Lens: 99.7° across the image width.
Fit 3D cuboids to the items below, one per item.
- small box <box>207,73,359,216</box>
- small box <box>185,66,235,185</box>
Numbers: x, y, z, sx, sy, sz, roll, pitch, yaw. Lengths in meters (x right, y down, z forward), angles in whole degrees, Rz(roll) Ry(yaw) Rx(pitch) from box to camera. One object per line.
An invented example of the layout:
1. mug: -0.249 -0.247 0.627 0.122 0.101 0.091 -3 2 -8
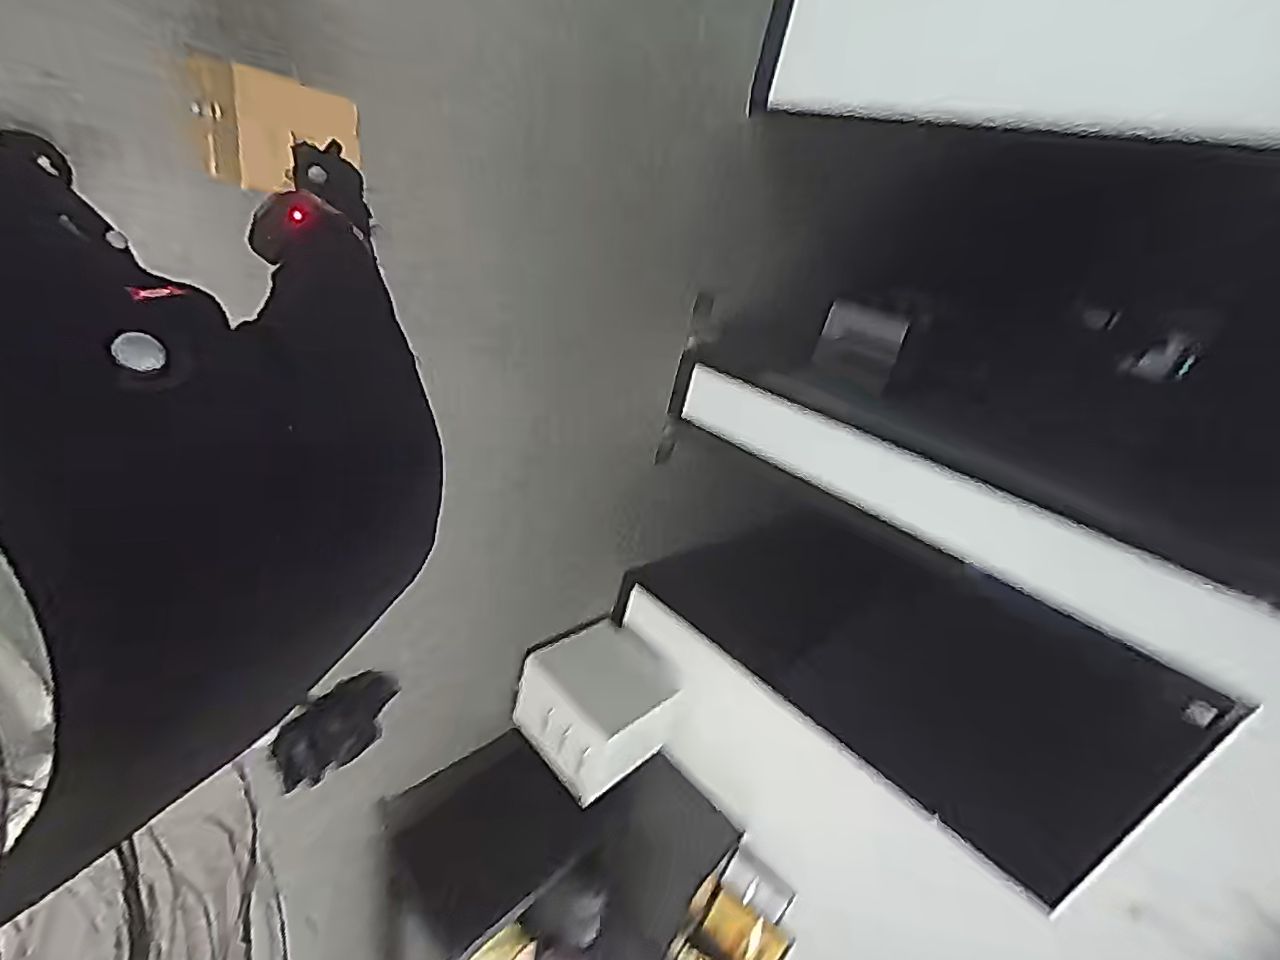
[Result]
1. small box: -0.605 -0.567 0.922 0.179 0.176 0.168 -11 123 -45
2. small box: -0.724 -0.637 1.007 0.168 0.176 0.179 -10 124 -47
